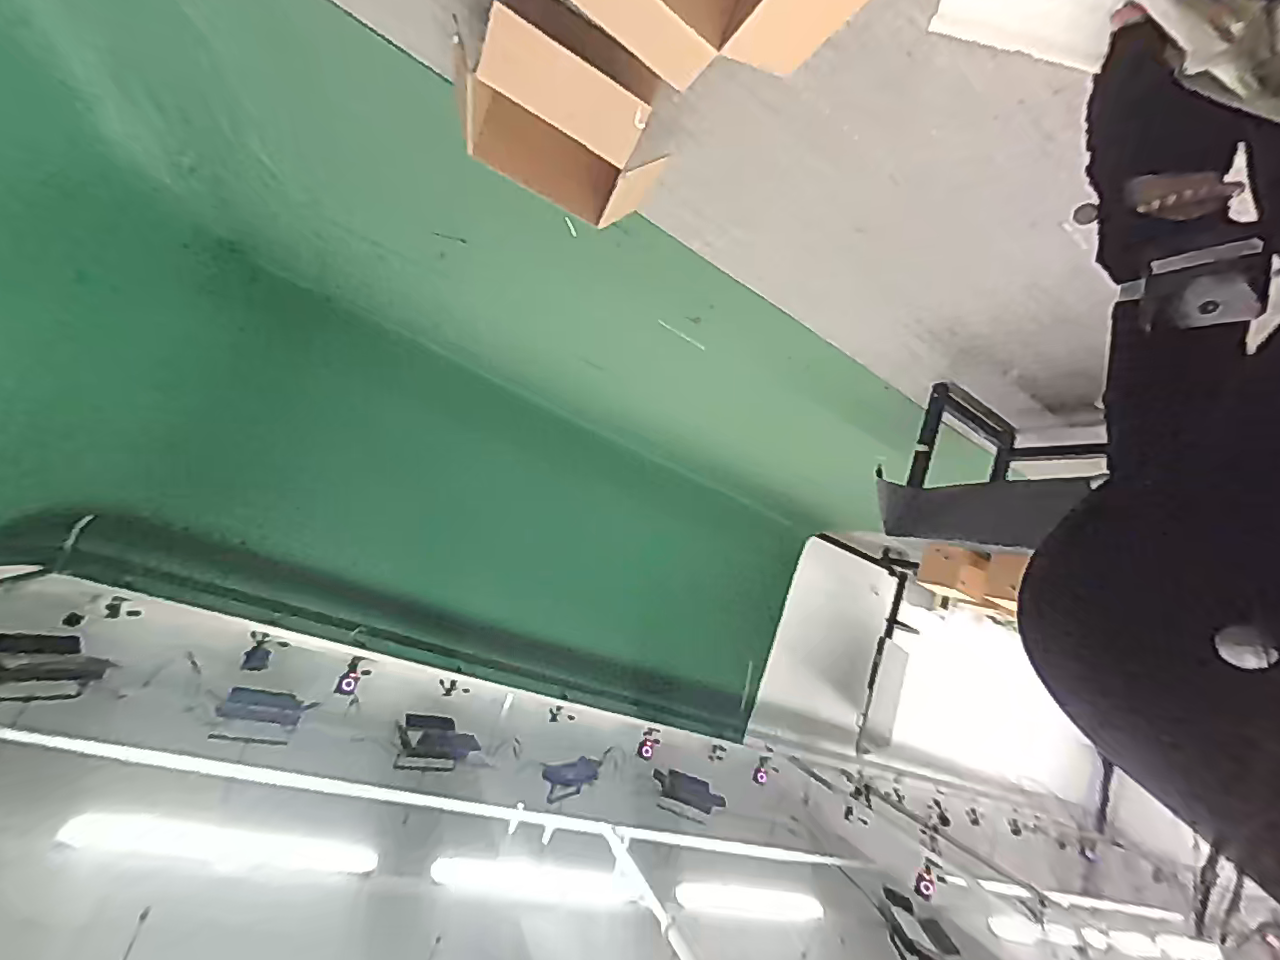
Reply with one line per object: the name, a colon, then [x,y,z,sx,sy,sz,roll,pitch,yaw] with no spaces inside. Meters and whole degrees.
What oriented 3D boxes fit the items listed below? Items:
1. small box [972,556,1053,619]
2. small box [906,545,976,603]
small box: [1.333,0.377,1.927,0.168,0.176,0.179,24,169,-20]
small box: [1.203,0.372,2.155,0.179,0.176,0.168,25,168,-26]
